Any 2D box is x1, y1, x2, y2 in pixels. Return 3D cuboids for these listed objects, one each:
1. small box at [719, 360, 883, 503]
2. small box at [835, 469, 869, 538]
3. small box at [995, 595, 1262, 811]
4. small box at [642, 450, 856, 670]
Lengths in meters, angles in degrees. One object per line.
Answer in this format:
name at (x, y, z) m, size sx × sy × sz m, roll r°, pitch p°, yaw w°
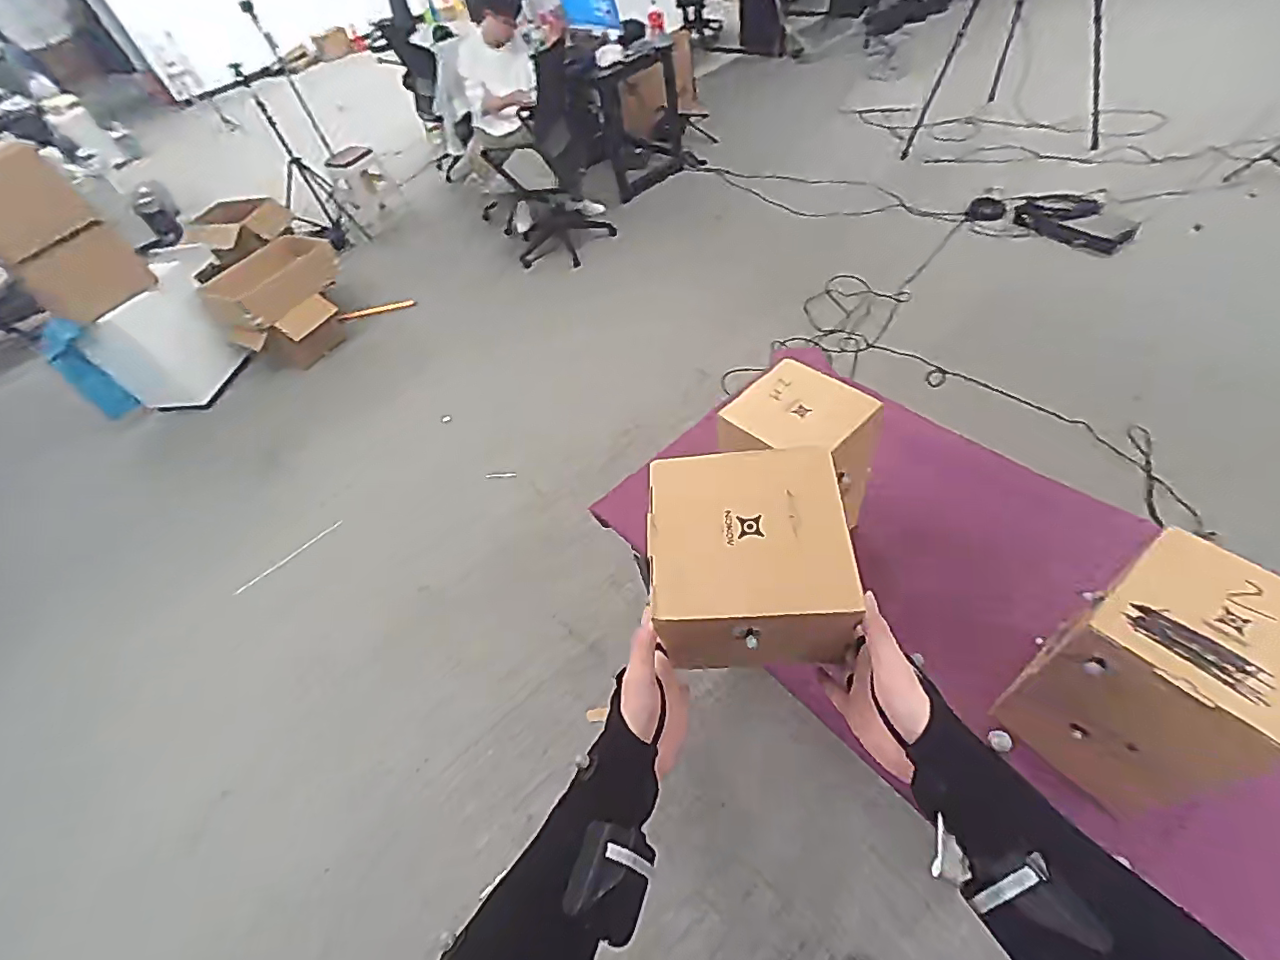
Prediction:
small box at (0.247, -0.051, 0.855) m, size 0.168 × 0.176 × 0.179 m, roll -38°, pitch 53°, yaw -18°
small box at (0.285, 0.042, 0.987) m, size 0.168 × 0.176 × 0.179 m, roll -40°, pitch 53°, yaw -19°
small box at (0.612, 0.292, 0.705) m, size 0.168 × 0.176 × 0.179 m, roll -36°, pitch 53°, yaw -17°
small box at (0.102, 0.090, 0.550) m, size 0.179 × 0.176 × 0.168 m, roll -4°, pitch 57°, yaw 8°
